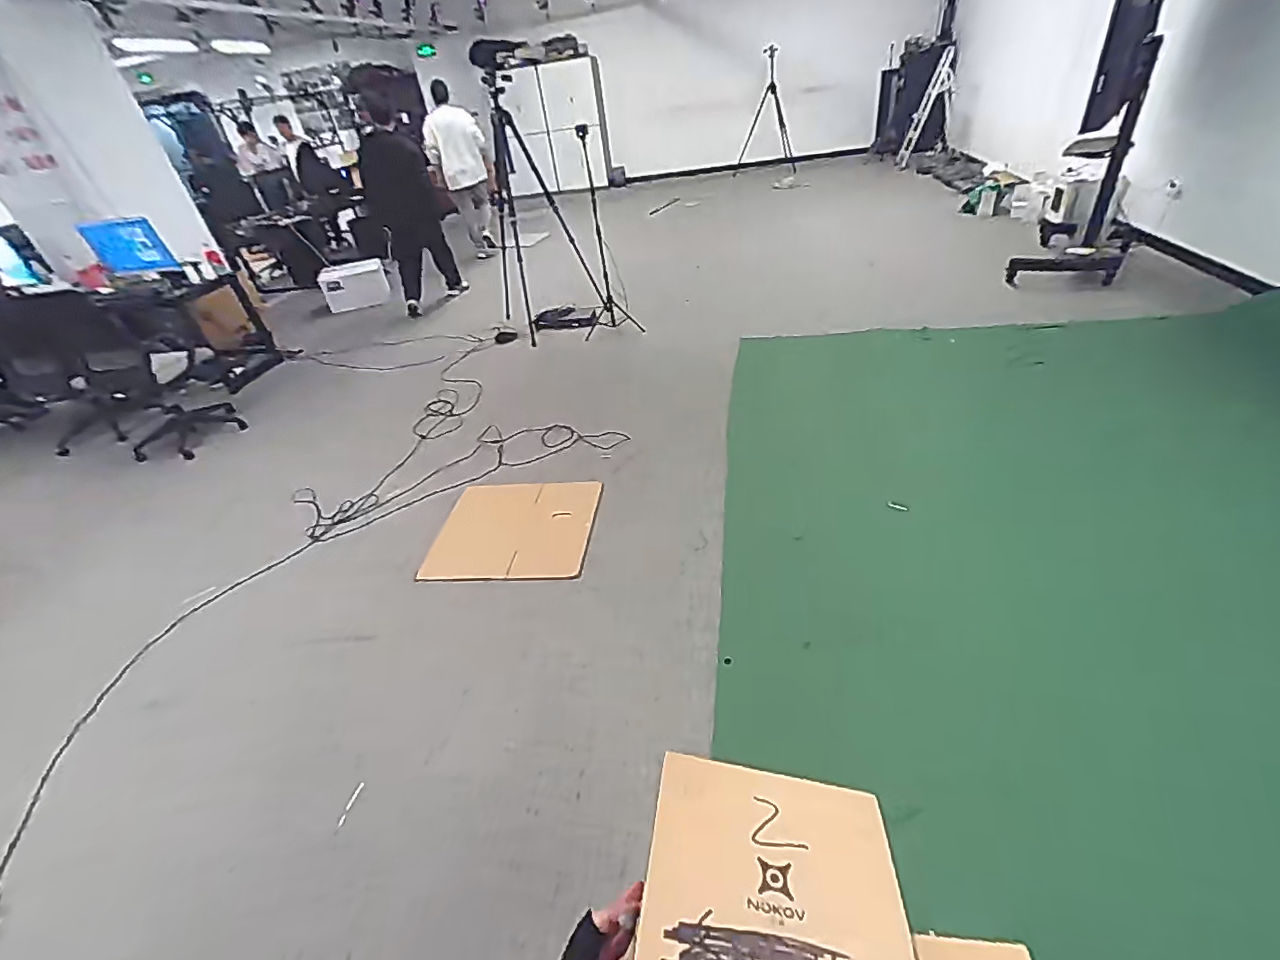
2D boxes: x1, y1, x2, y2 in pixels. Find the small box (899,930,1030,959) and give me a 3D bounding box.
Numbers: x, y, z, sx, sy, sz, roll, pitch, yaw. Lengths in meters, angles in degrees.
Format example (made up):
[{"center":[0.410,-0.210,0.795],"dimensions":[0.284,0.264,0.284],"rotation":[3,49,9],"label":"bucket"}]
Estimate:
[{"center":[0.537,0.861,0.874],"dimensions":[0.179,0.176,0.168],"rotation":[-3,38,9],"label":"small box"}]
